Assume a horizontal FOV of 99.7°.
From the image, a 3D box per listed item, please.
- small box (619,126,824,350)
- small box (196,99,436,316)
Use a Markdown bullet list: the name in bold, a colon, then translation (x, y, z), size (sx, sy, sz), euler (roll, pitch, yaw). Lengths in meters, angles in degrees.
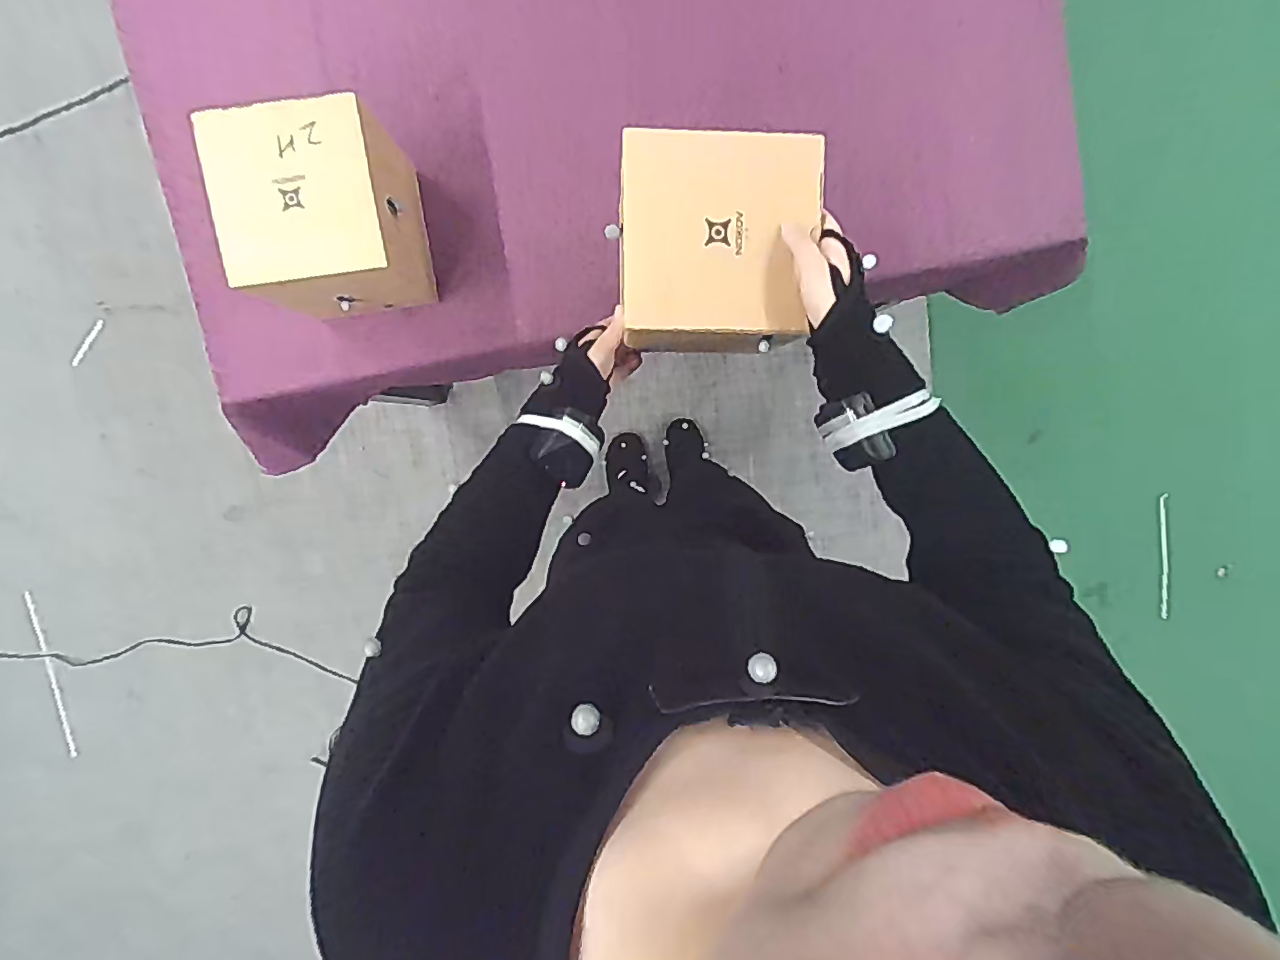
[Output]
- **small box**: translation (0.067, -0.224, 0.544), size (0.179, 0.176, 0.168), euler (-1, 97, -4)
- **small box**: translation (-0.355, -0.297, 0.631), size (0.168, 0.176, 0.179), euler (-8, 96, -2)
